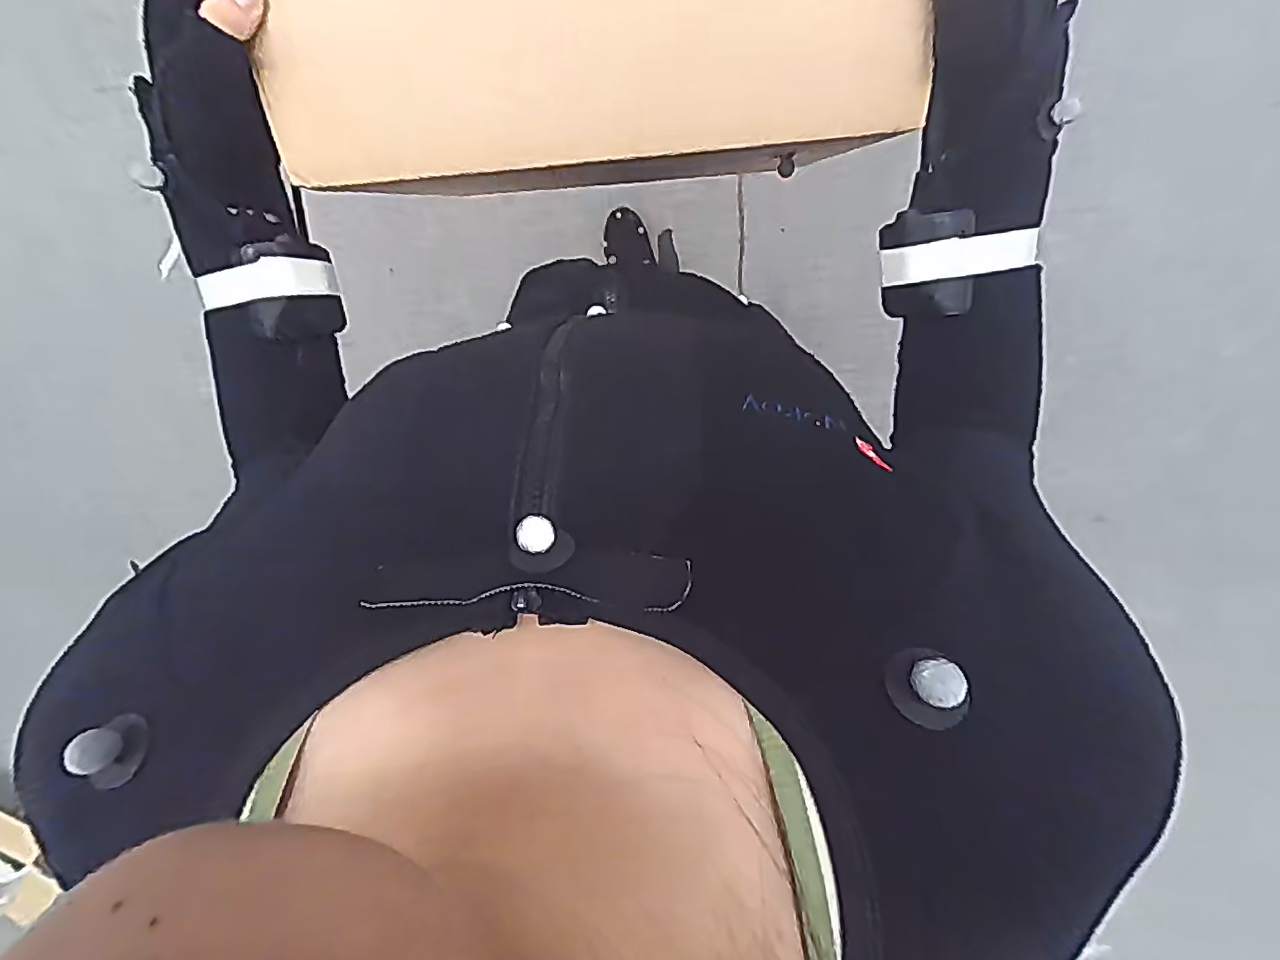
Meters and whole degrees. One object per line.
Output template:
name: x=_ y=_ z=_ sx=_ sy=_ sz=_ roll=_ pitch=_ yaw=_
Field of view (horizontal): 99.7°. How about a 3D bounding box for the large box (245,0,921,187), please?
large box: x=-0.035 y=-0.418 z=0.415 sx=0.408 sy=0.320 sz=0.320 roll=-3 pitch=116 yaw=3
